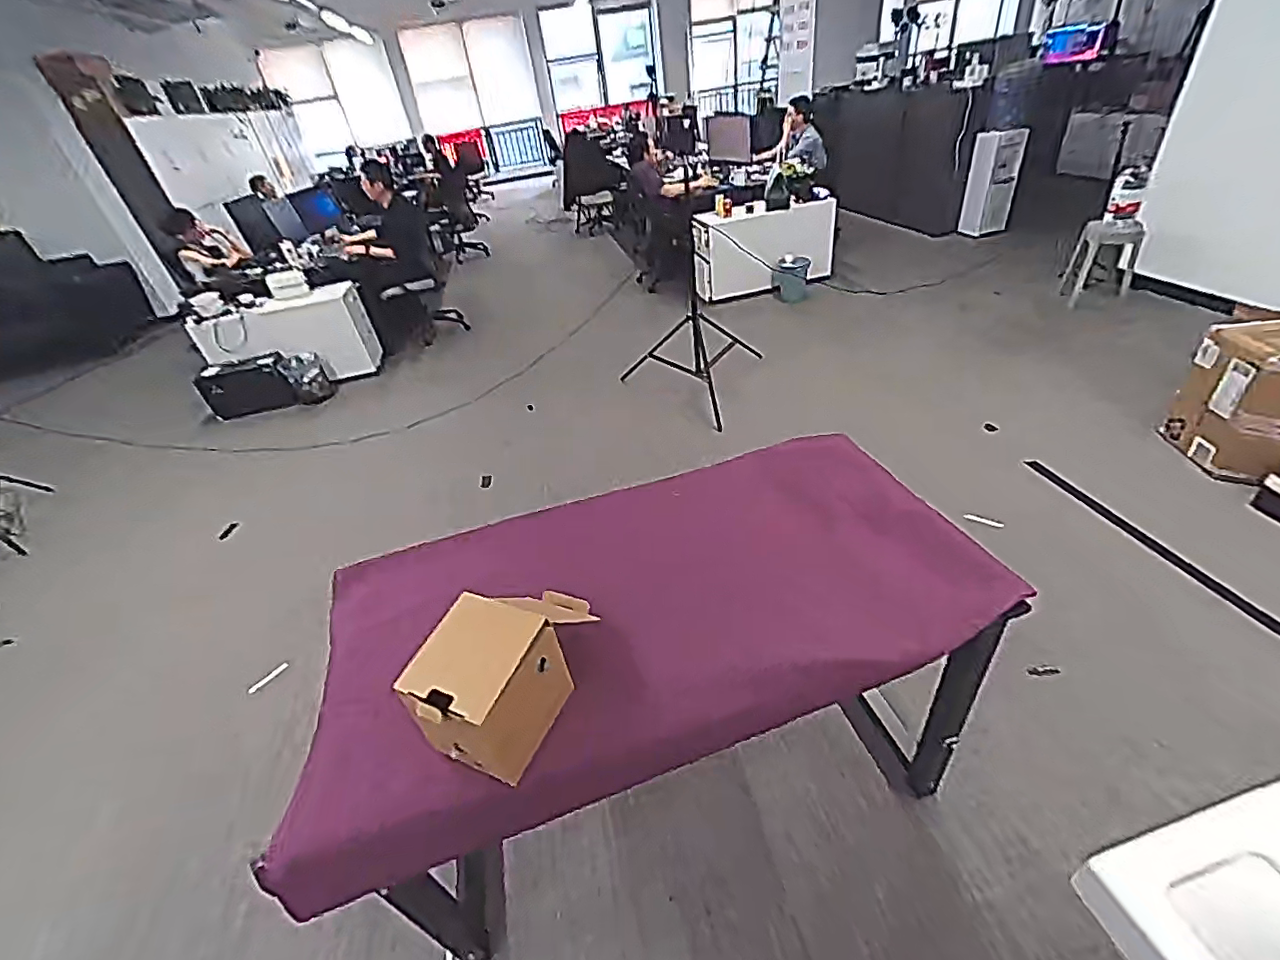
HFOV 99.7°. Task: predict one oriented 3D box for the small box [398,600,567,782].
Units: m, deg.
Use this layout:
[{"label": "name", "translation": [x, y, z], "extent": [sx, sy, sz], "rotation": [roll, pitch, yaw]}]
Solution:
[{"label": "small box", "translation": [-0.229, 0.323, 0.843], "extent": [0.168, 0.176, 0.179], "rotation": [9, 39, 25]}]
